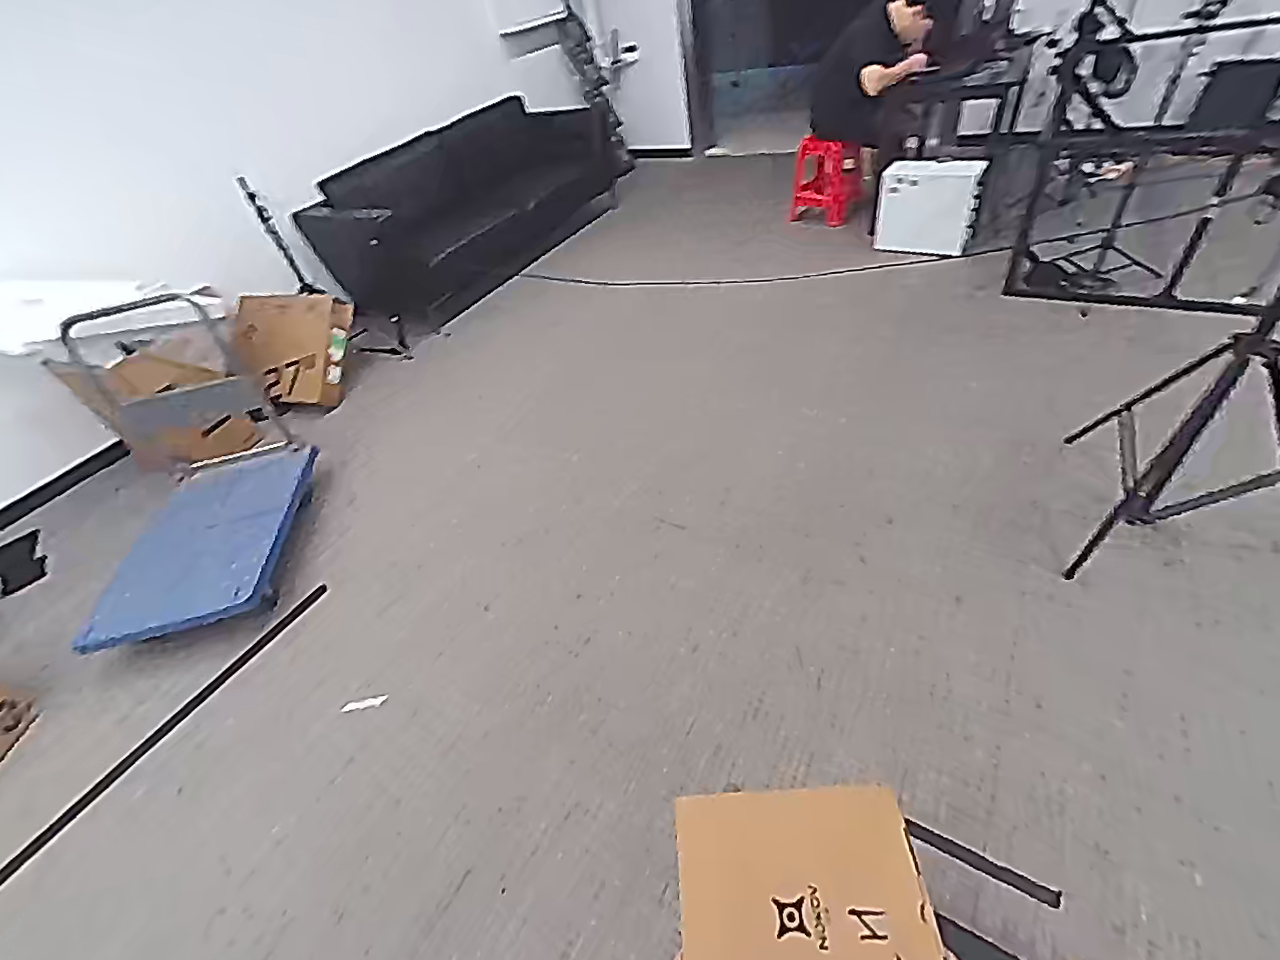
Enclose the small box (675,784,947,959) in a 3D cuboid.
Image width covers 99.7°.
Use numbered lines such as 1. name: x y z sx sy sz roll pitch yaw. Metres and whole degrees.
1. small box: 0.129 0.361 0.432 0.179 0.176 0.168 -8 46 7
